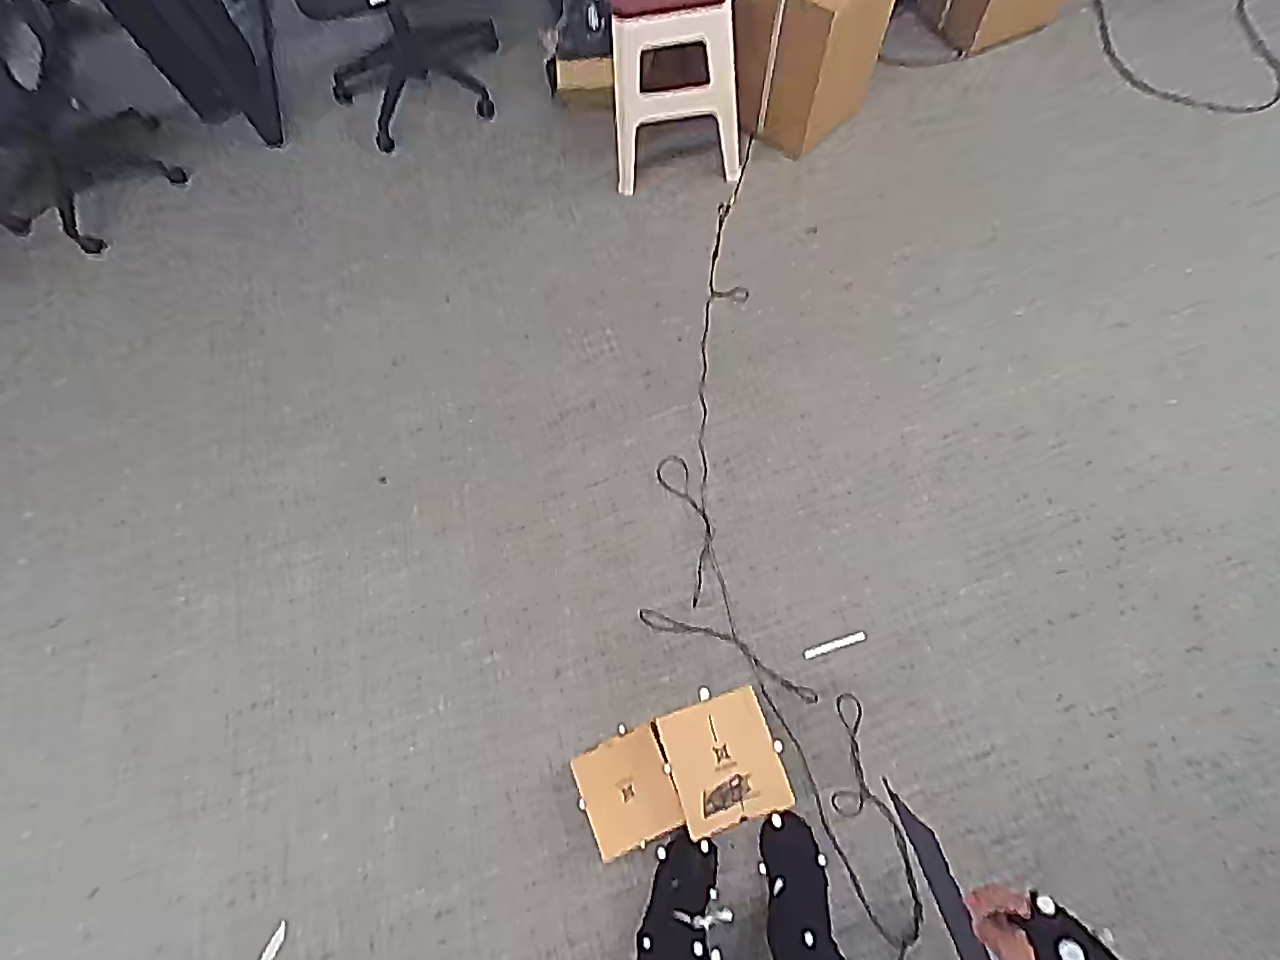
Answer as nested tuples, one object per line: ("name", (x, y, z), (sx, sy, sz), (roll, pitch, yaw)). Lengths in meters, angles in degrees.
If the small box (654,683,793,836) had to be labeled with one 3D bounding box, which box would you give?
("small box", (0.133, 0.447, 0.893), (0.168, 0.176, 0.179), (-19, 67, -1))
